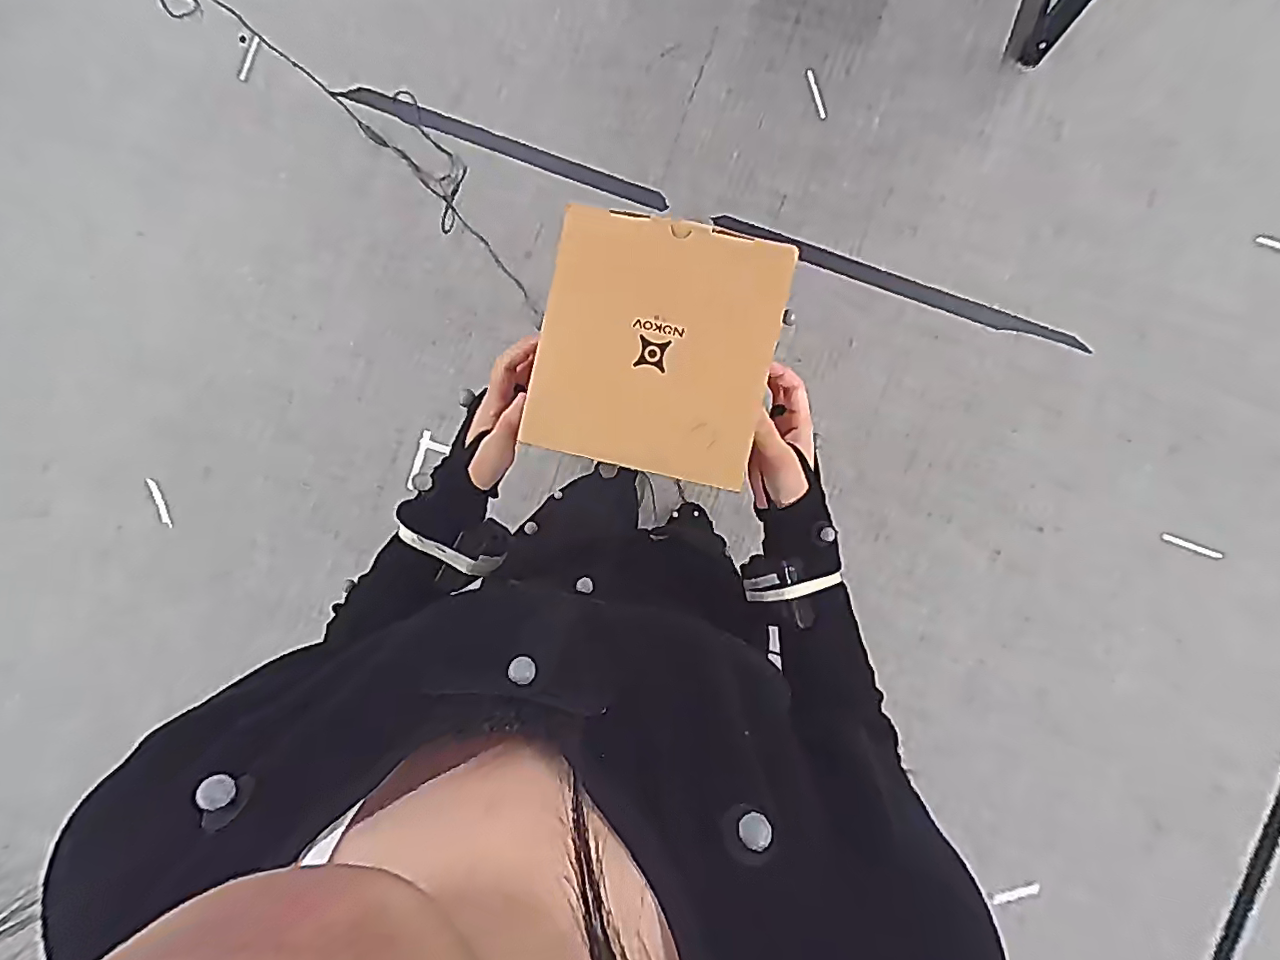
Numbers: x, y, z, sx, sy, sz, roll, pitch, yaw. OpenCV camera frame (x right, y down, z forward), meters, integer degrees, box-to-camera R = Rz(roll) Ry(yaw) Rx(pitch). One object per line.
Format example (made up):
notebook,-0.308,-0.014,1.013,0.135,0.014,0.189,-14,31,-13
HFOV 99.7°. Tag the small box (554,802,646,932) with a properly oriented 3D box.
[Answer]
small box,-0.084,0.880,1.247,0.179,0.176,0.168,9,89,4

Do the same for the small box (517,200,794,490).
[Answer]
small box,0.015,-0.097,0.456,0.168,0.176,0.179,13,92,3

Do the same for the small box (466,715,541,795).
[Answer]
small box,-0.378,0.760,1.426,0.168,0.176,0.179,23,90,2
